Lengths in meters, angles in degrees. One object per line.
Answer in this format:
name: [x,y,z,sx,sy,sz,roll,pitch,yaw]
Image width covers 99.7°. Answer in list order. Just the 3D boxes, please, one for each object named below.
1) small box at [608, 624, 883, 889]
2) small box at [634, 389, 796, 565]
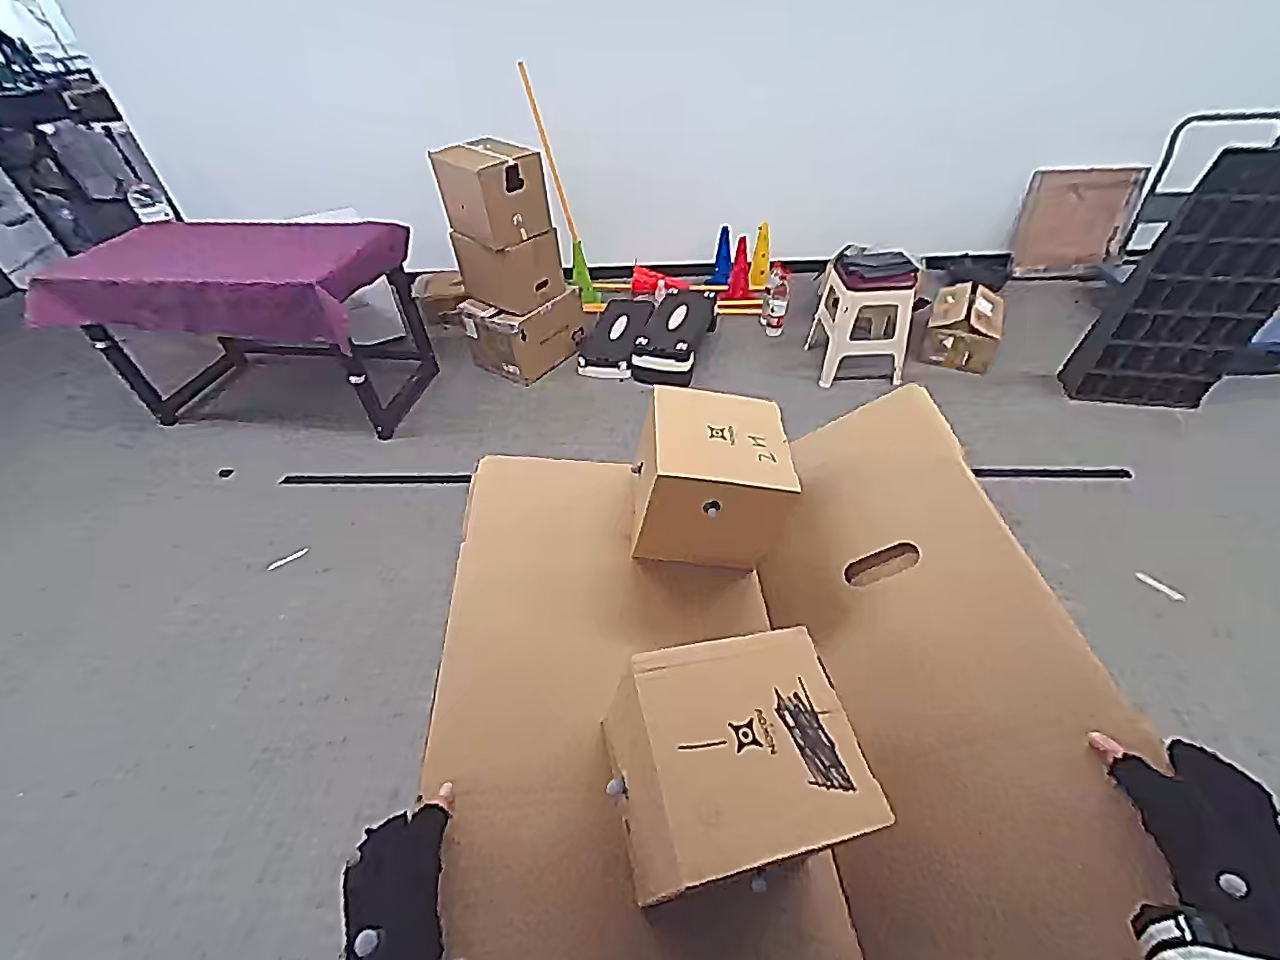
small box: [0.077,0.256,0.506,0.179,0.176,0.168,-4,49,-16]
small box: [0.089,0.001,0.745,0.179,0.176,0.168,8,47,-7]
